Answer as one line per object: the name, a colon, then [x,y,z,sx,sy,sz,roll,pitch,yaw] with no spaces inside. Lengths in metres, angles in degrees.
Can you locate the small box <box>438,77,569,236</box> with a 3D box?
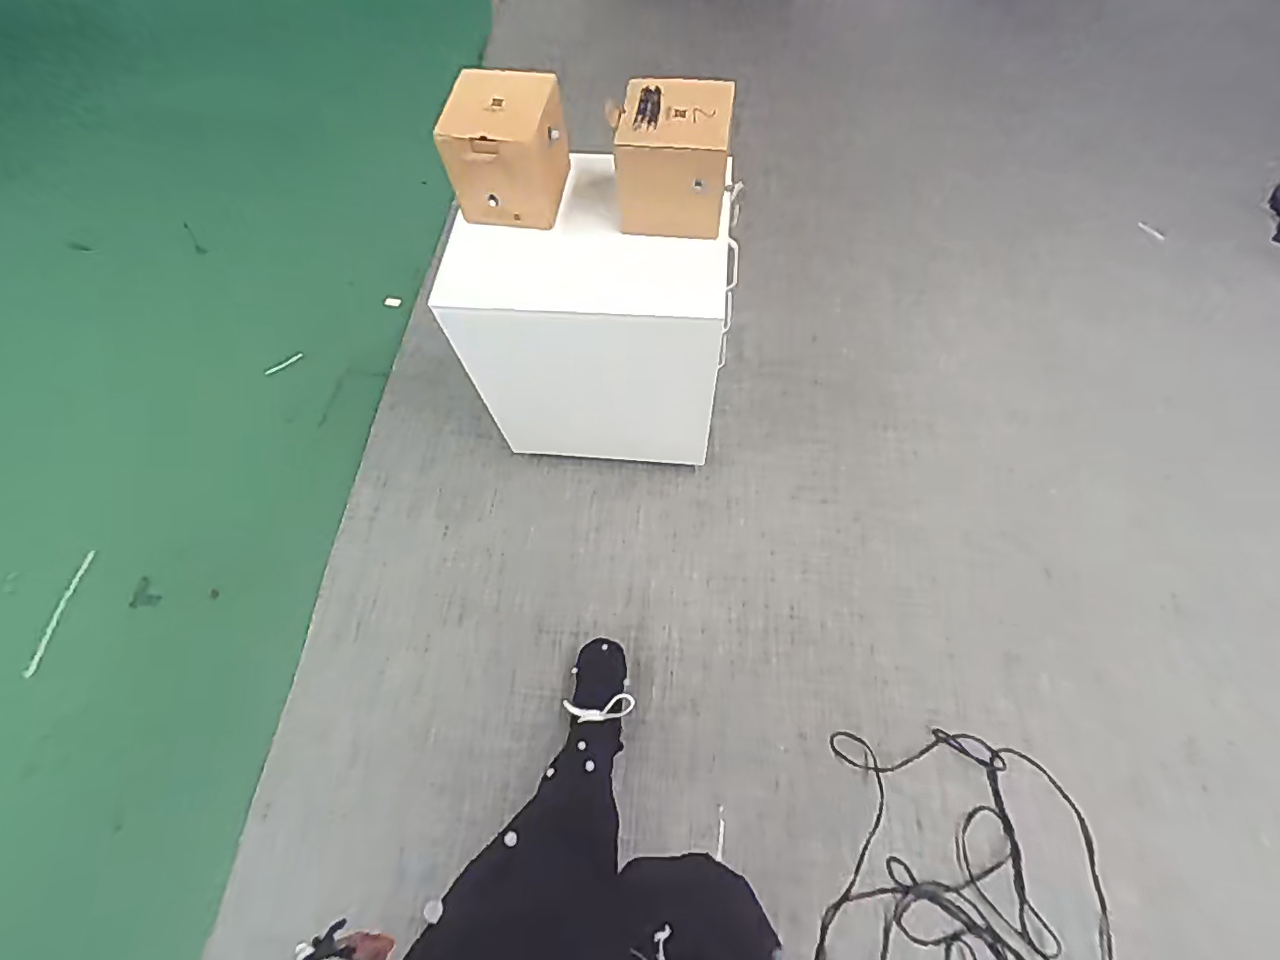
small box: [-0.227,-0.566,0.956,0.168,0.176,0.179,7,67,5]
